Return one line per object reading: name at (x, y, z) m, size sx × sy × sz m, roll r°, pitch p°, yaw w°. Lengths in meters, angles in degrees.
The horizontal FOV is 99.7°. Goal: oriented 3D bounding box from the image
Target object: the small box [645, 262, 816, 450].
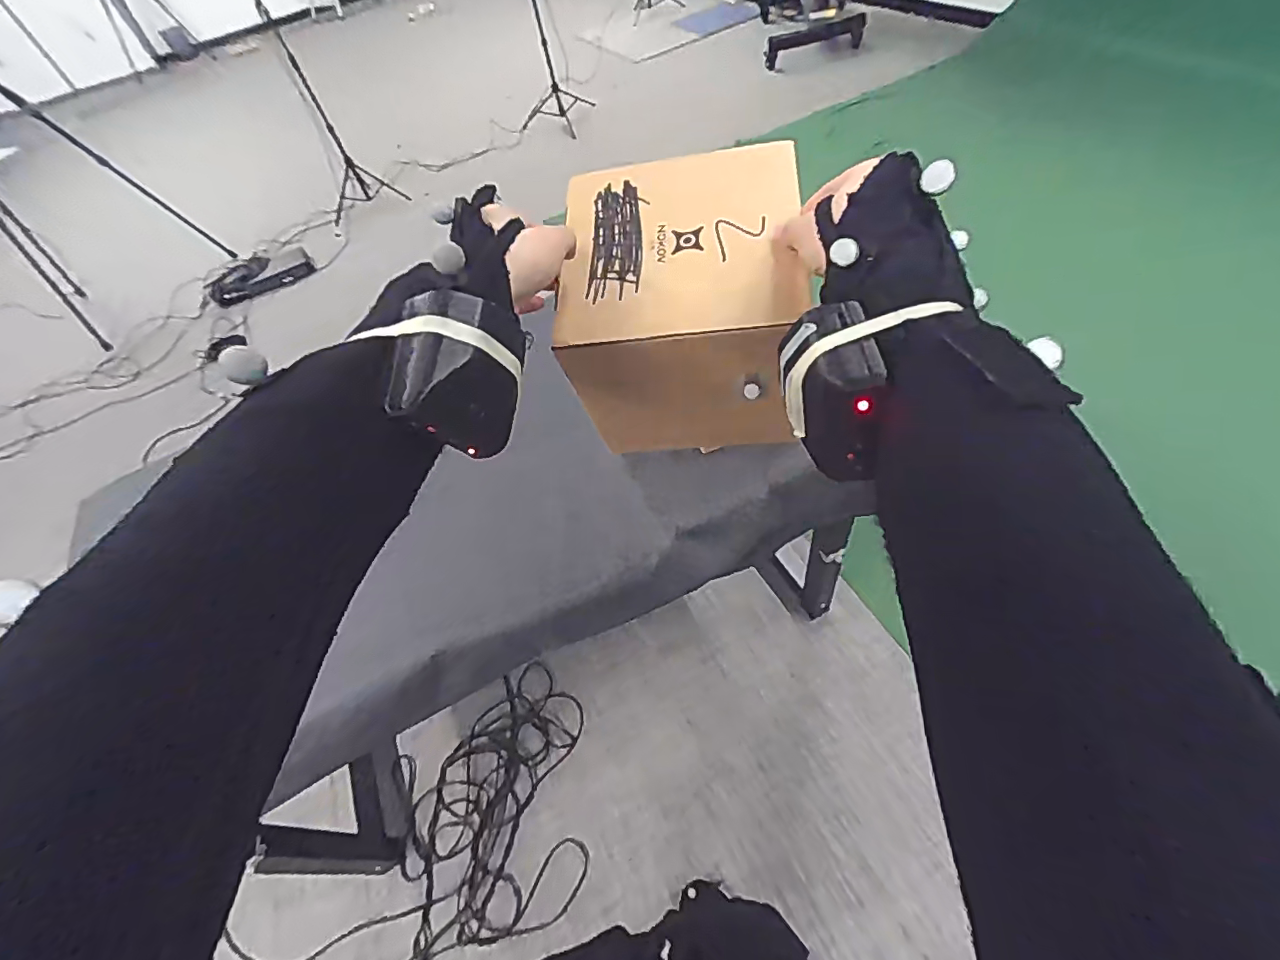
small box at (0.126, -0.171, 0.773) m, size 0.179 × 0.176 × 0.168 m, roll -23°, pitch 54°, yaw -6°
